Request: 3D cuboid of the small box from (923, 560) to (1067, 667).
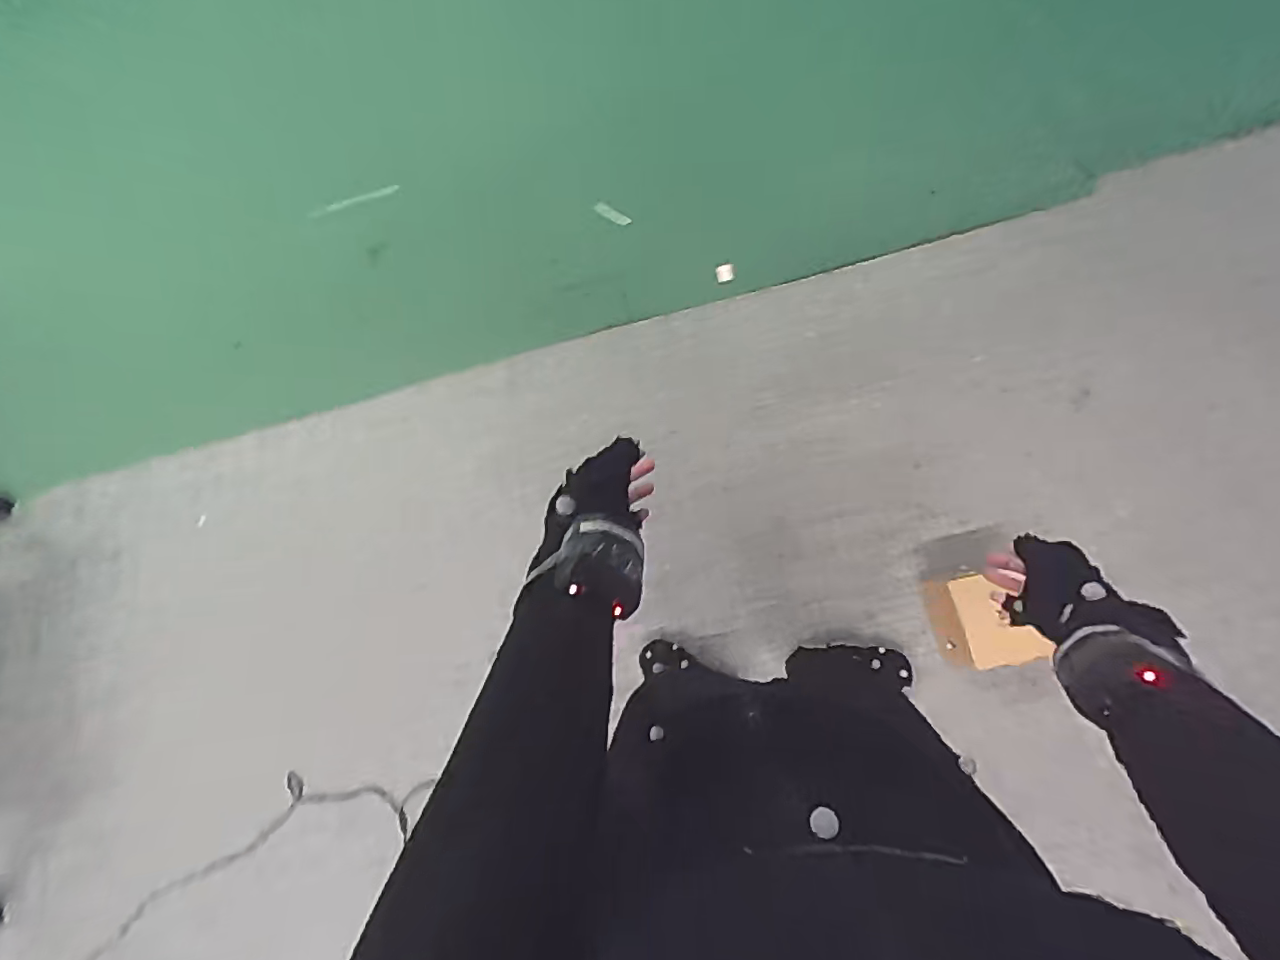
[{"bbox_3d":[0.721,0.273,1.122,0.168,0.176,0.179,-15,76,5],"label":"small box"}]
